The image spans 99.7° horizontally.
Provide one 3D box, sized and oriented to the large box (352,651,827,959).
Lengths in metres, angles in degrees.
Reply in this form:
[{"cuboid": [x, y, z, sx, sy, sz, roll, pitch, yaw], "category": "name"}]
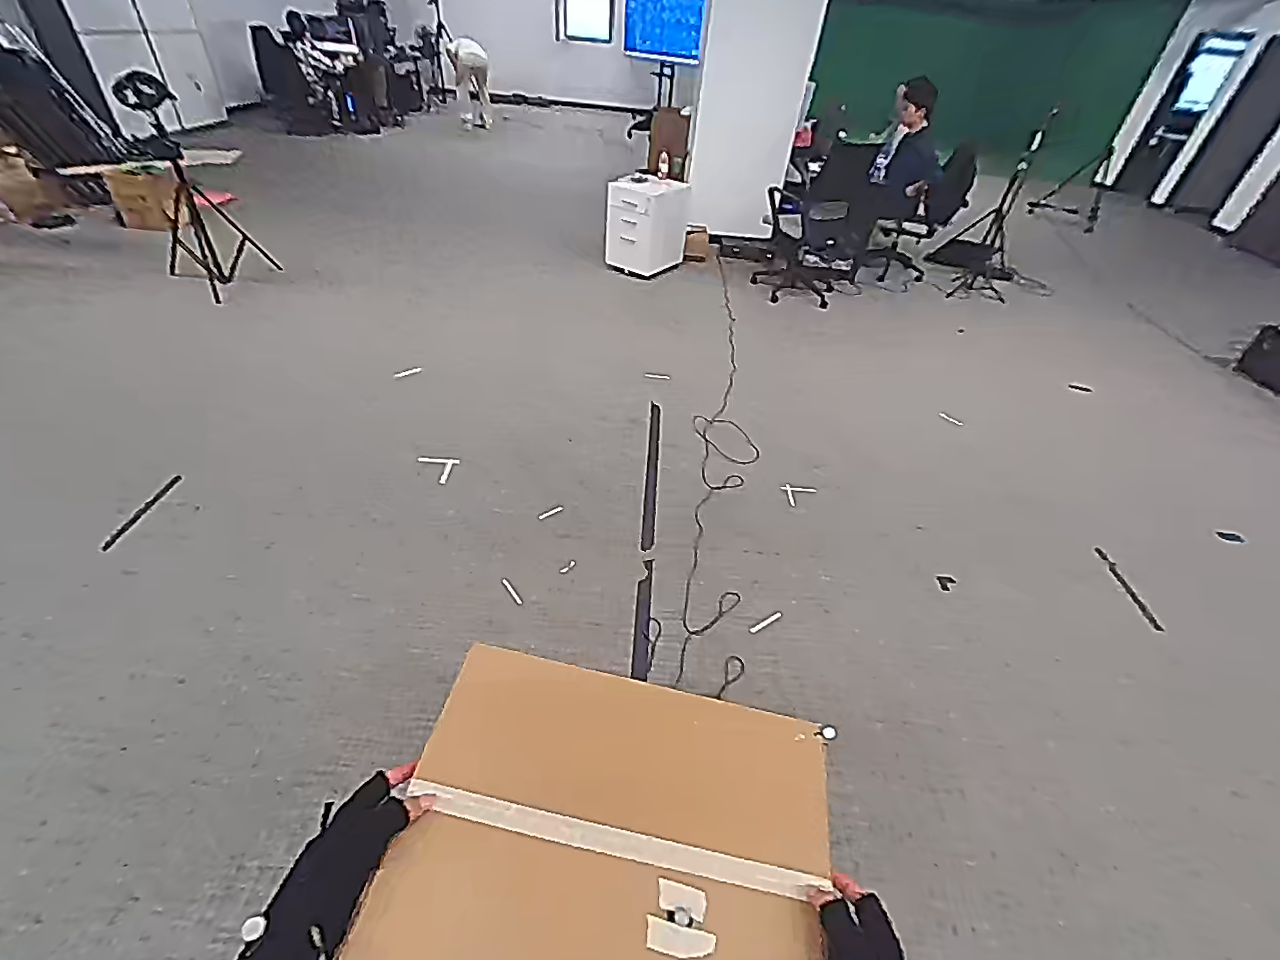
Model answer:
[{"cuboid": [-0.040, 0.446, 0.622, 0.408, 0.320, 0.320, 13, 46, 2], "category": "large box"}]
